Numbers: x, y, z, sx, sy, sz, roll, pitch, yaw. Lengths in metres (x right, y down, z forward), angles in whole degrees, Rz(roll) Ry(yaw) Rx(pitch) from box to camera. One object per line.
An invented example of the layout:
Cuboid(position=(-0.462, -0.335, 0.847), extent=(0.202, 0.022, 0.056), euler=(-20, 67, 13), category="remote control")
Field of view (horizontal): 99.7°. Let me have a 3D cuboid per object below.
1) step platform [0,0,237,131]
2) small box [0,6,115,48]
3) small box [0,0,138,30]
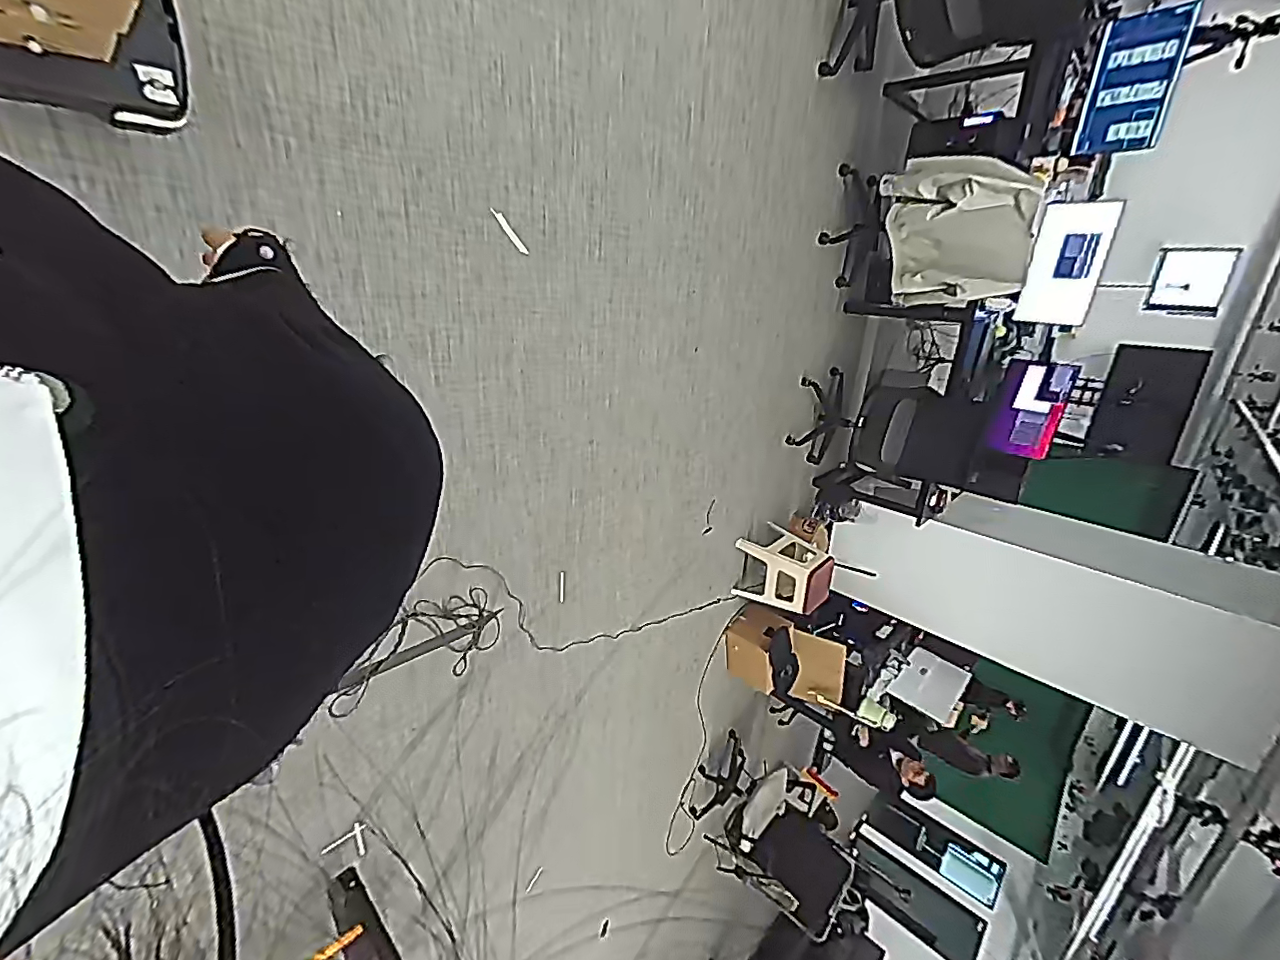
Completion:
Cuboid(position=(-0.903, -0.619, 0.613), extent=(0.684, 0.204, 0.286), euler=(-20, 120, -43), category="step platform")
Cuboid(position=(-0.837, -0.696, 0.711), extent=(0.168, 0.176, 0.179), euler=(-20, 121, -42), category="small box")
Cuboid(position=(-0.712, -0.656, 0.611), extent=(0.168, 0.176, 0.179), euler=(-21, 122, -42), category="small box")
